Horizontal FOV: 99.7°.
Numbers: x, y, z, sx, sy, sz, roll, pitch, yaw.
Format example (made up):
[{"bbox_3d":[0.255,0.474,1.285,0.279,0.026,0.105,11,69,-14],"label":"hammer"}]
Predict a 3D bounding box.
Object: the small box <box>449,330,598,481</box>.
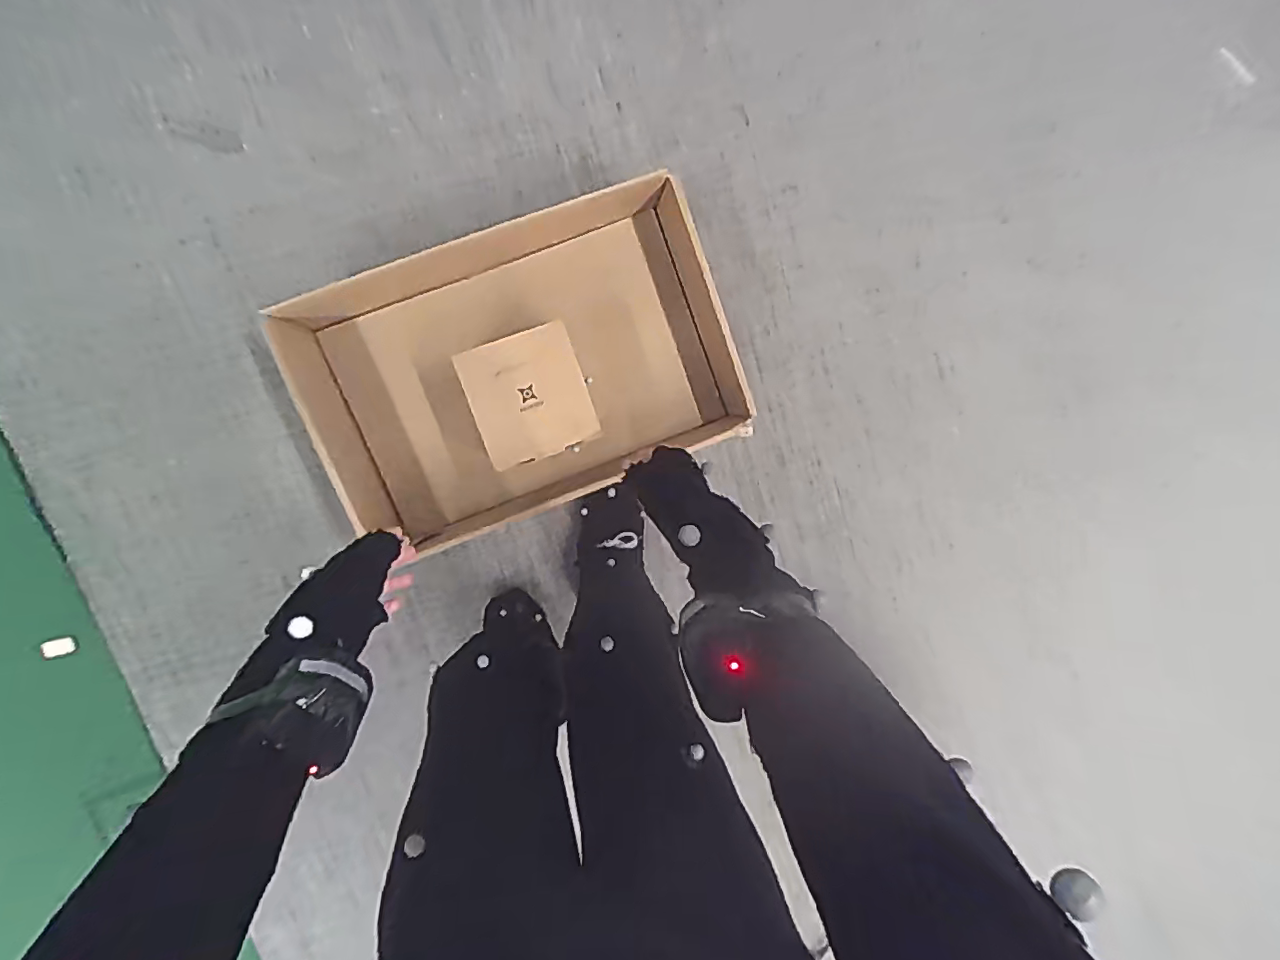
[{"bbox_3d":[-0.172,-0.114,0.844,0.168,0.176,0.179,-20,98,-6],"label":"small box"}]
